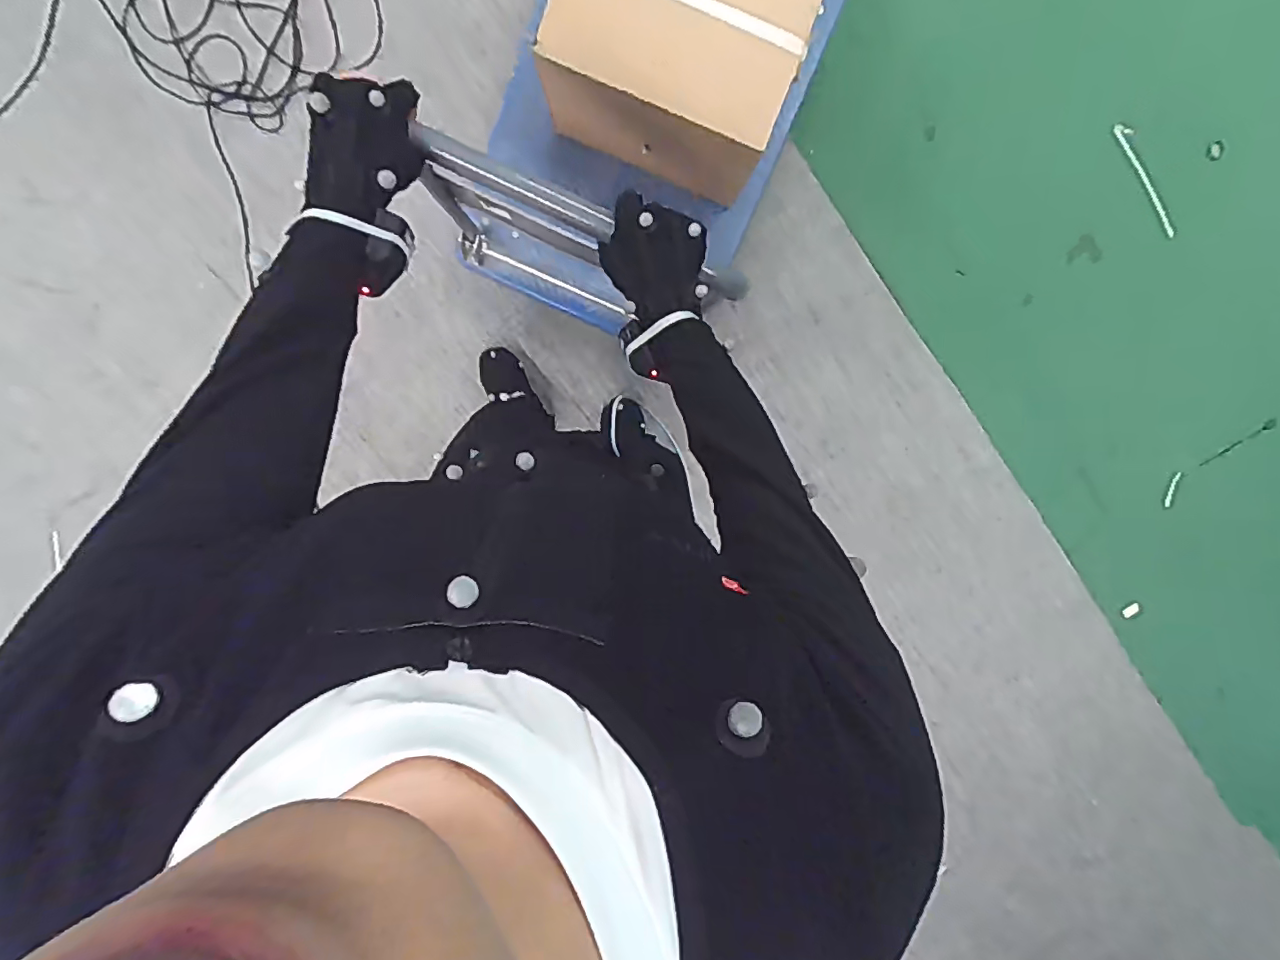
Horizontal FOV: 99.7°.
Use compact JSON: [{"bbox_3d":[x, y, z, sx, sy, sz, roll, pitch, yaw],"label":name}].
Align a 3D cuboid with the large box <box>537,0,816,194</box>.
[{"bbox_3d":[0.071,-0.794,0.998,0.408,0.320,0.320,20,100,-4],"label":"large box"}]
